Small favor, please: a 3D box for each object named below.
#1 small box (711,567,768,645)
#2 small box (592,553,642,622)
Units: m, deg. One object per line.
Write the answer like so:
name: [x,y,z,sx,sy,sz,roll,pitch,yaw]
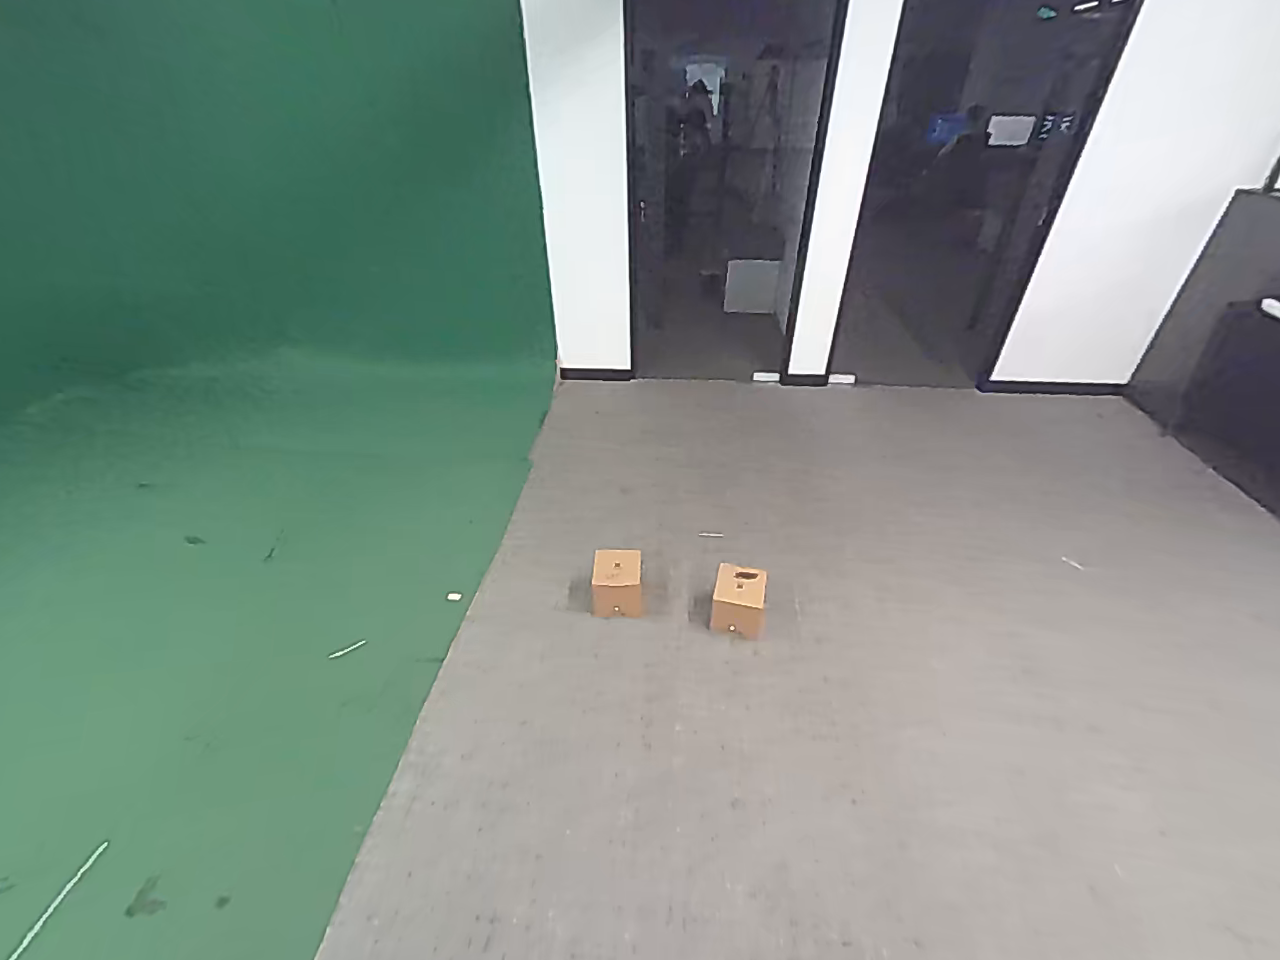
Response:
small box: [0.340,0.433,1.861,0.168,0.176,0.179,9,37,13]
small box: [-0.079,0.383,1.933,0.168,0.176,0.179,1,35,1]
